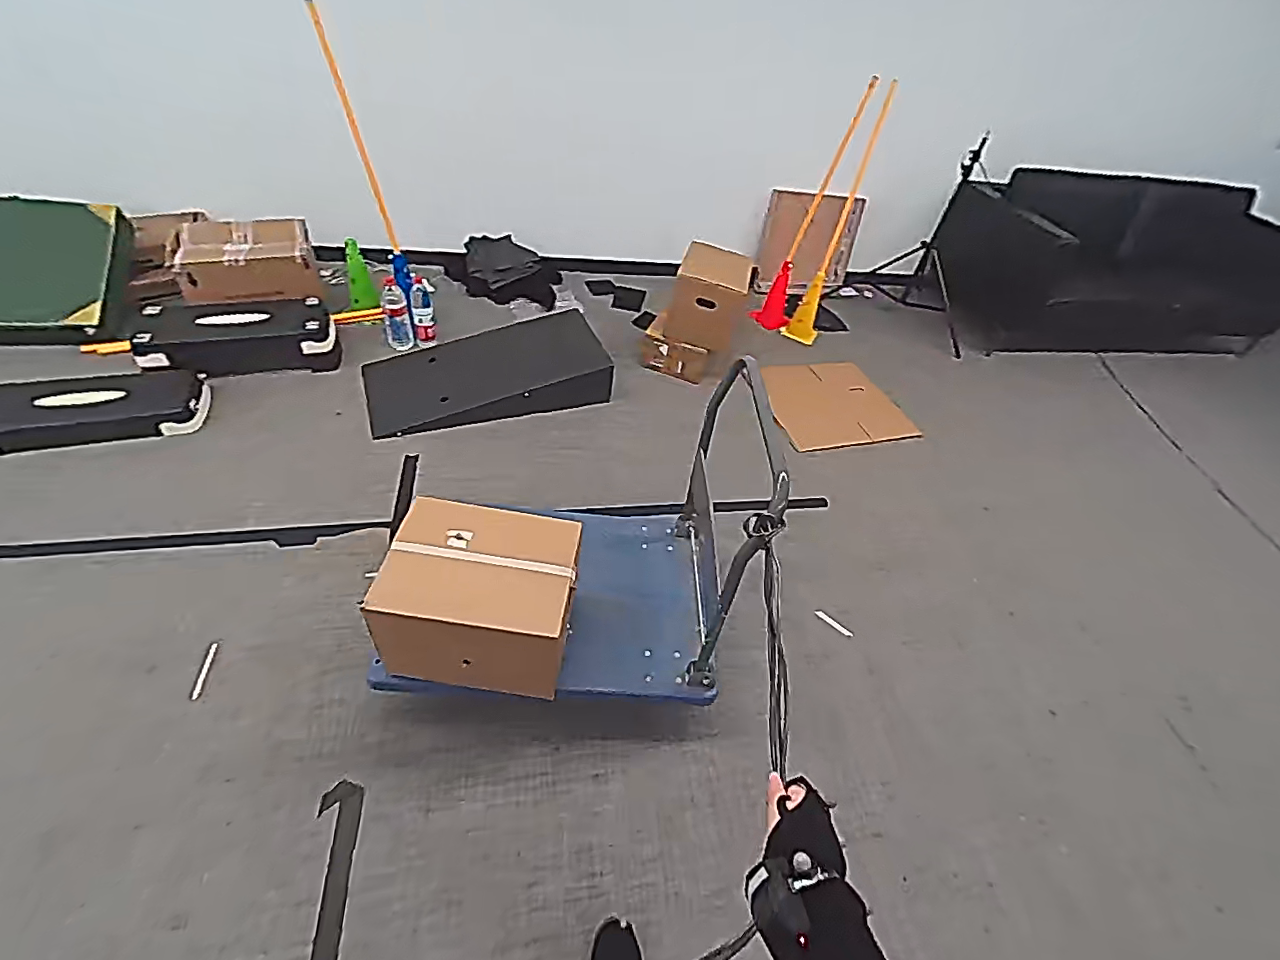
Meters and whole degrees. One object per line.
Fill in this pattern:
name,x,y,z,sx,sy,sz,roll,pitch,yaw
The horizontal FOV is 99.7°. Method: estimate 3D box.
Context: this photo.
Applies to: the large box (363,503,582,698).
large box,-0.363,0.292,1.292,0.408,0.320,0.320,9,44,-2
